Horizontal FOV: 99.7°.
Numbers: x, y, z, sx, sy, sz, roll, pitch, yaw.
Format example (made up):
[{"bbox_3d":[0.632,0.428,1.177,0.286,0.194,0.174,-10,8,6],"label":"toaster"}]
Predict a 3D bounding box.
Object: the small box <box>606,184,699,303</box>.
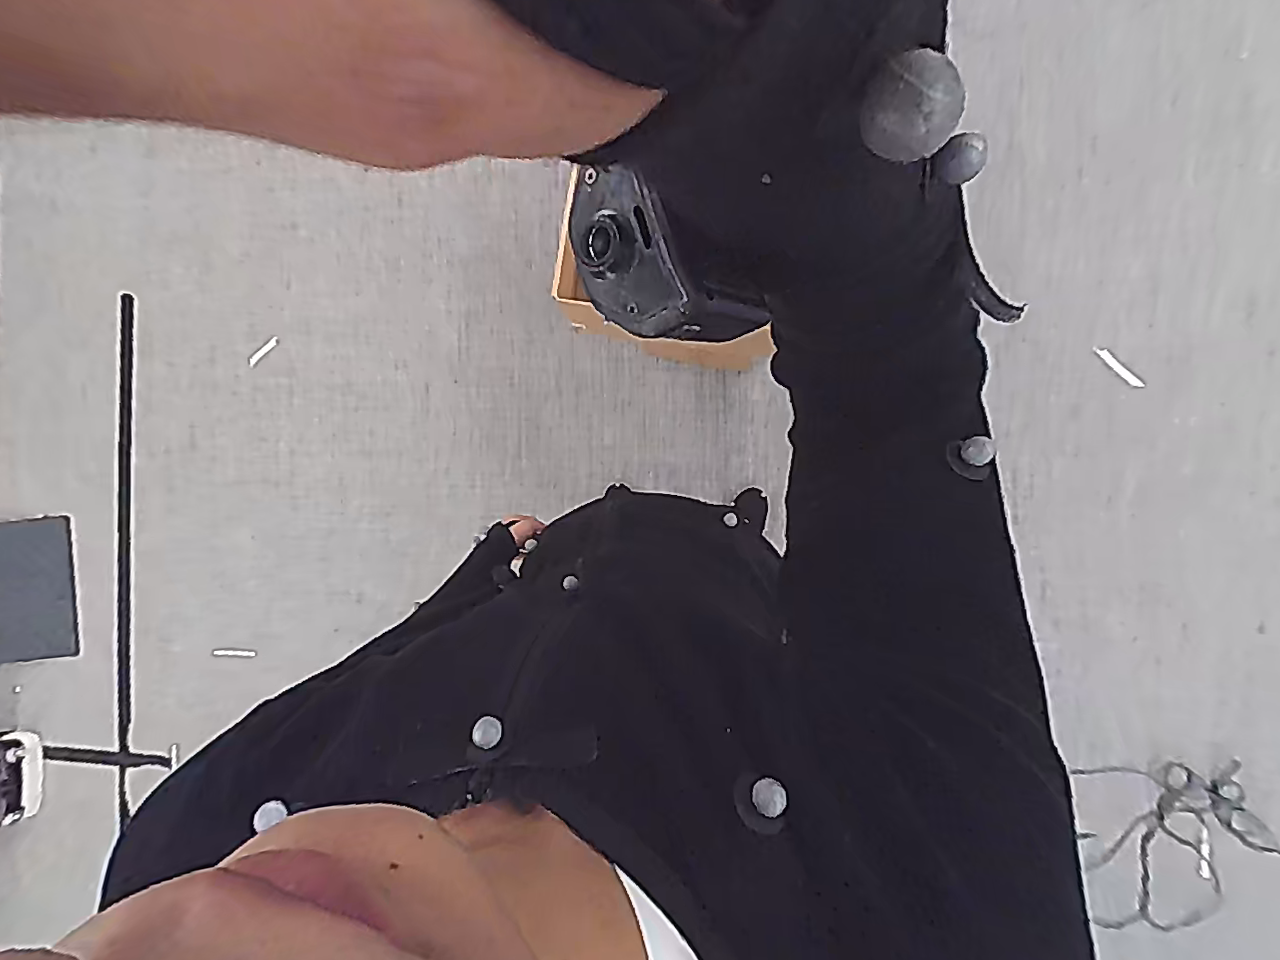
[{"bbox_3d":[0.033,-0.491,1.145,0.168,0.176,0.179,7,89,6],"label":"small box"}]
